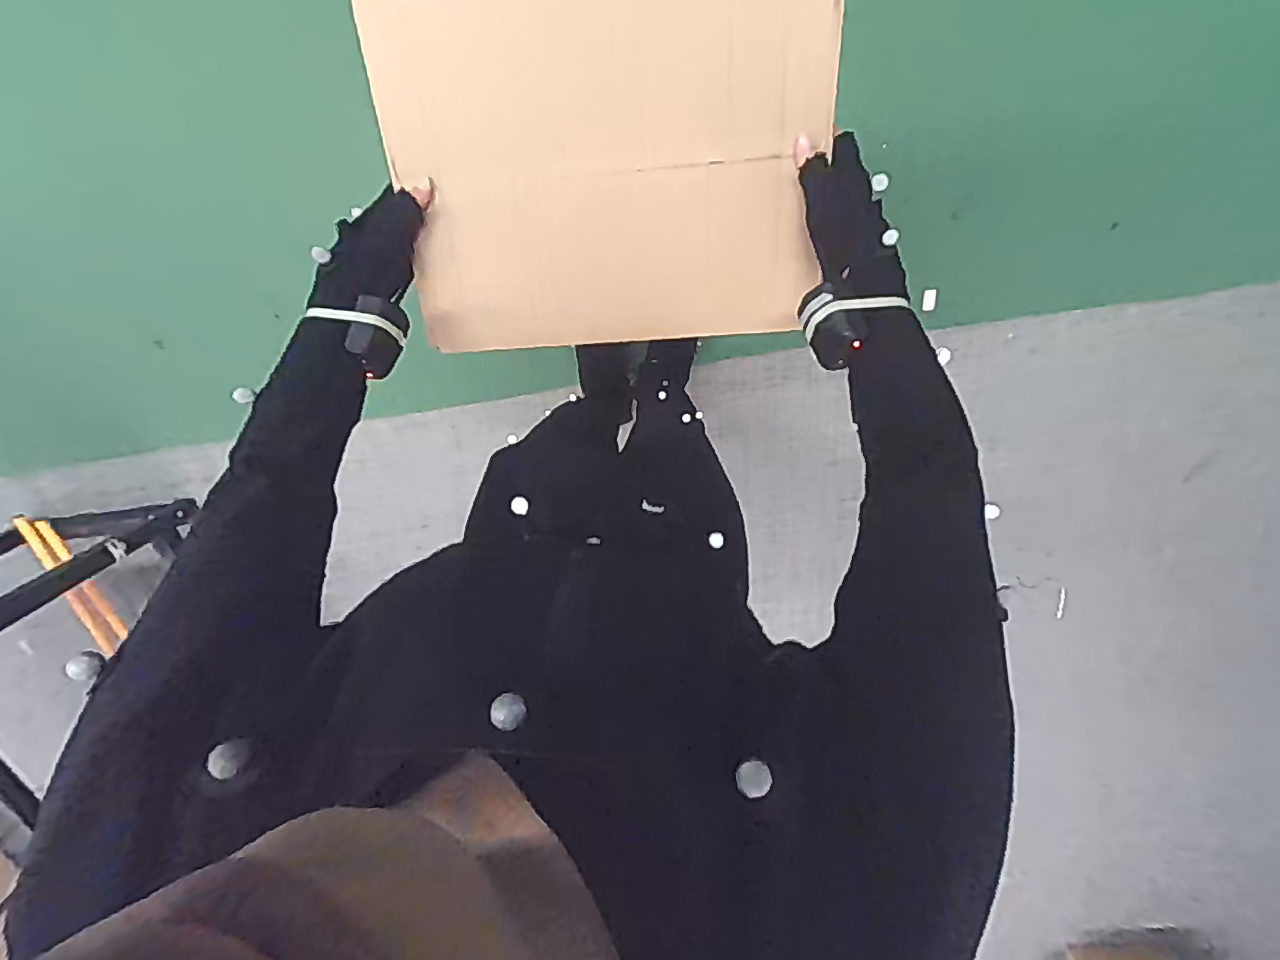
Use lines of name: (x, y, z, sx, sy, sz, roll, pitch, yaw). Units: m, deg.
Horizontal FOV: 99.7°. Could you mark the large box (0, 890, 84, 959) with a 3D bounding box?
large box: (-1.535, 1.111, 1.110, 0.408, 0.320, 0.320, -8, 114, 6)
